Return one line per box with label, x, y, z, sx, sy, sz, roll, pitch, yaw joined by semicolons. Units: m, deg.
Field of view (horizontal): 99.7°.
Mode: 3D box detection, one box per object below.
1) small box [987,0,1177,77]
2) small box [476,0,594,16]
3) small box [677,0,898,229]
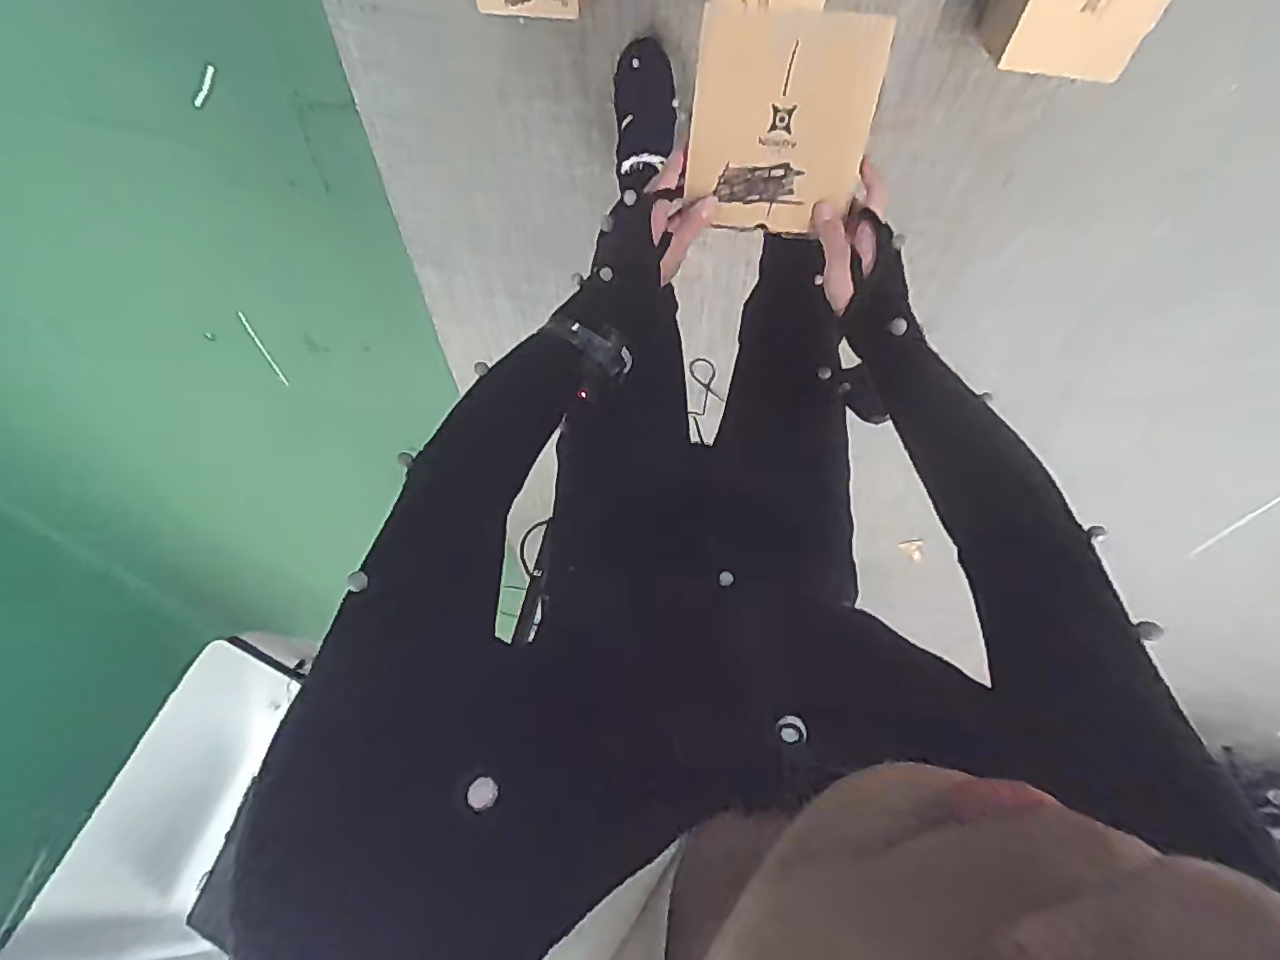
small box;0.627;-0.699;0.757;0.179;0.176;0.168;9;143;3
small box;-0.154;-0.828;0.806;0.168;0.176;0.179;9;142;5
small box;0.134;-0.371;0.554;0.168;0.176;0.179;7;122;3
